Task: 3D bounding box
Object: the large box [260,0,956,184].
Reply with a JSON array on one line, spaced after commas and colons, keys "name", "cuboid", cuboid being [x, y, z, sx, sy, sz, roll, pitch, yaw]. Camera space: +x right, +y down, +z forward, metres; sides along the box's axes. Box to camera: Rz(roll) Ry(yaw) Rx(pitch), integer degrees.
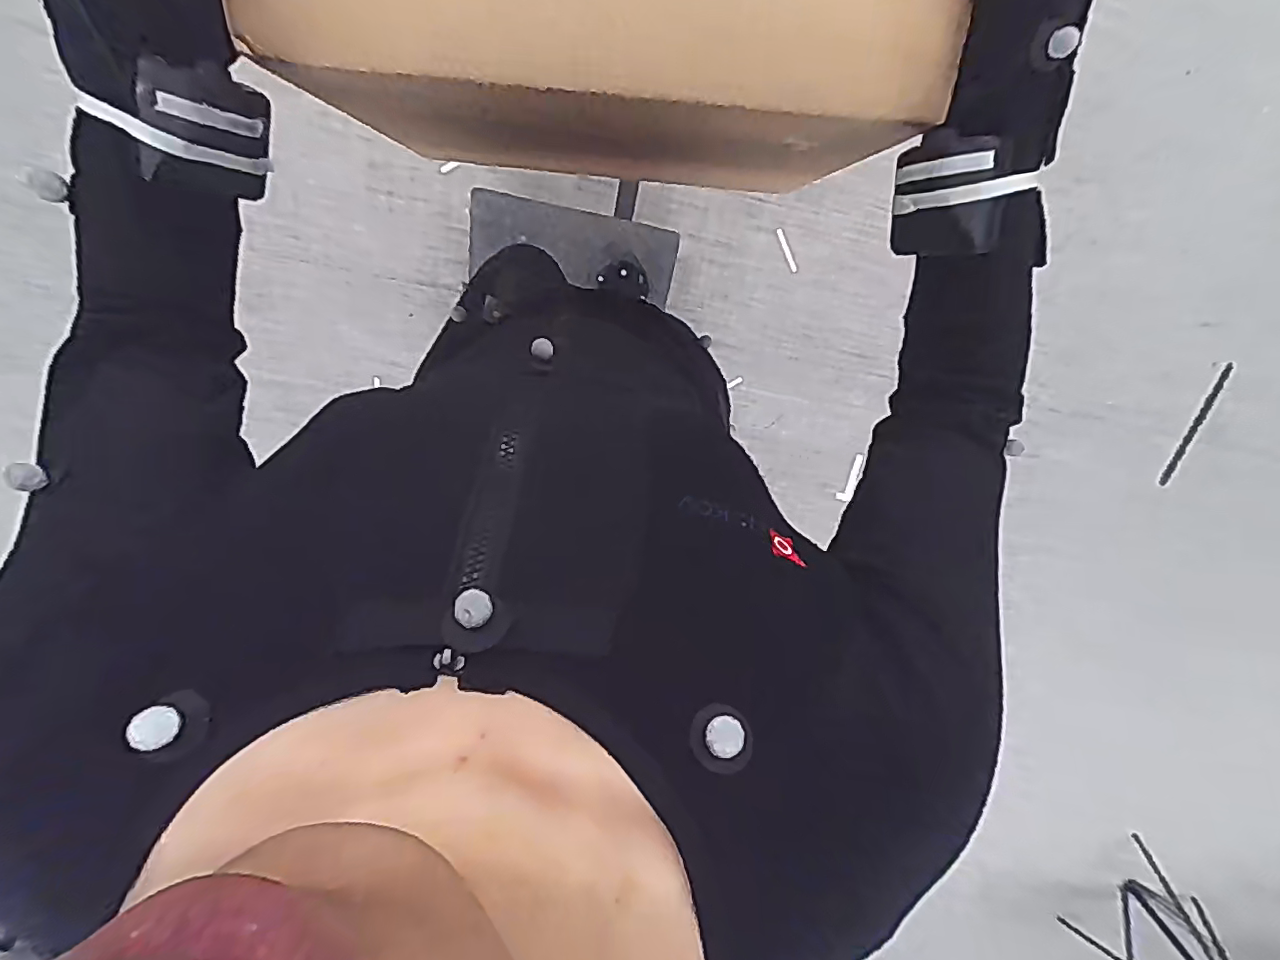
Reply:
[{"name": "large box", "cuboid": [-0.015, -0.430, 0.407, 0.408, 0.320, 0.320, 3, 112, -4]}]
